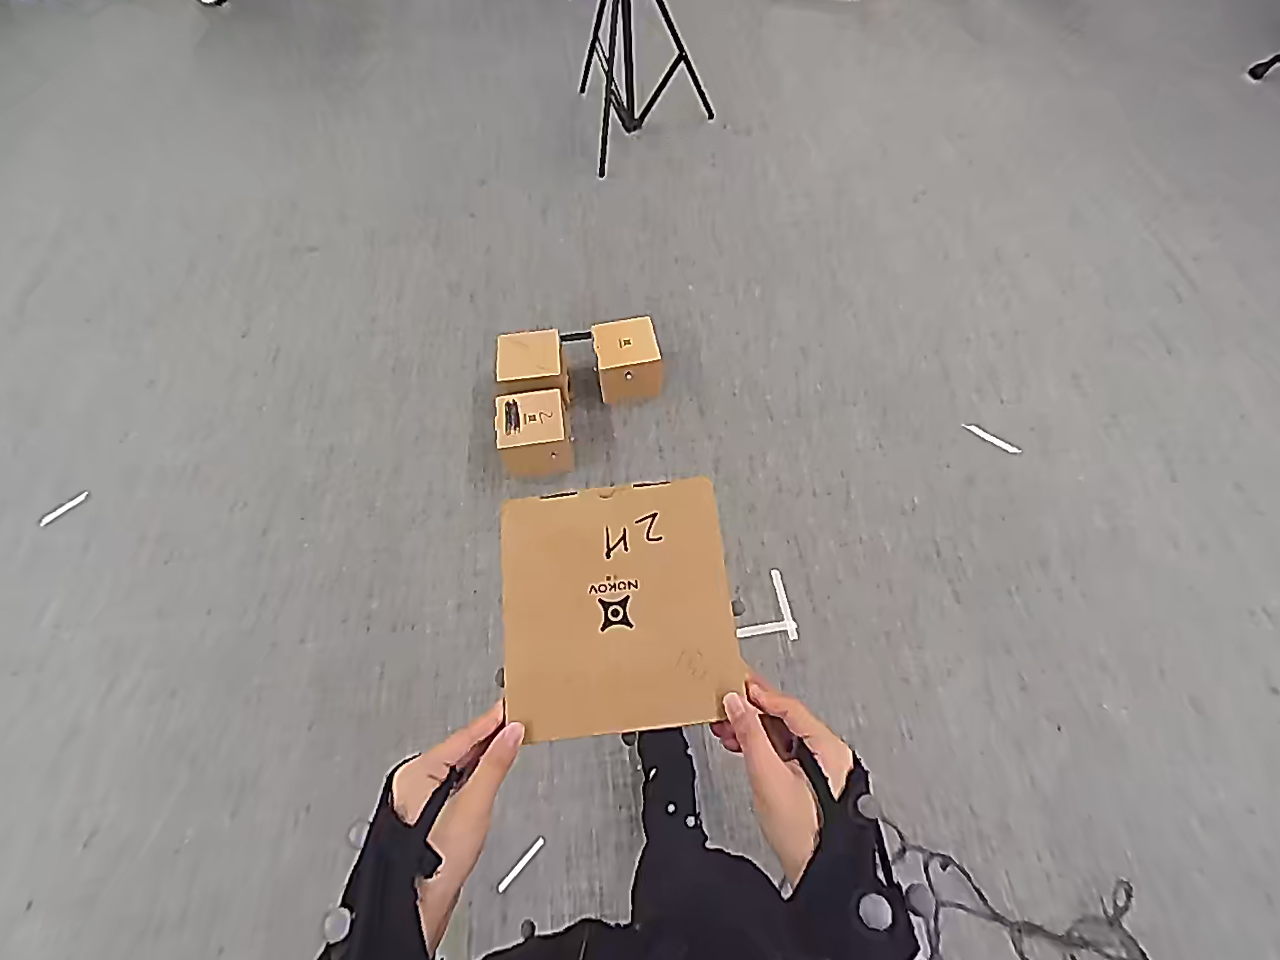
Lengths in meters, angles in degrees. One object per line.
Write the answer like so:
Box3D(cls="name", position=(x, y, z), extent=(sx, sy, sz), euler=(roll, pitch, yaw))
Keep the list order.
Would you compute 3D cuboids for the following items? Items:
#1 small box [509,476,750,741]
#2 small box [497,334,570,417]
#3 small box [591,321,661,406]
Box3D(cls="small box", position=(-0.010, 0.113, 0.467), extent=(0.168, 0.176, 0.179), euler=(-7, 69, 0))
Box3D(cls="small box", position=(-0.308, -0.305, 1.577), extent=(0.179, 0.176, 0.168), euler=(-6, 62, -2))
Box3D(cls="small box", position=(-0.040, -0.339, 1.593), extent=(0.179, 0.176, 0.168), euler=(-11, 63, -3))
